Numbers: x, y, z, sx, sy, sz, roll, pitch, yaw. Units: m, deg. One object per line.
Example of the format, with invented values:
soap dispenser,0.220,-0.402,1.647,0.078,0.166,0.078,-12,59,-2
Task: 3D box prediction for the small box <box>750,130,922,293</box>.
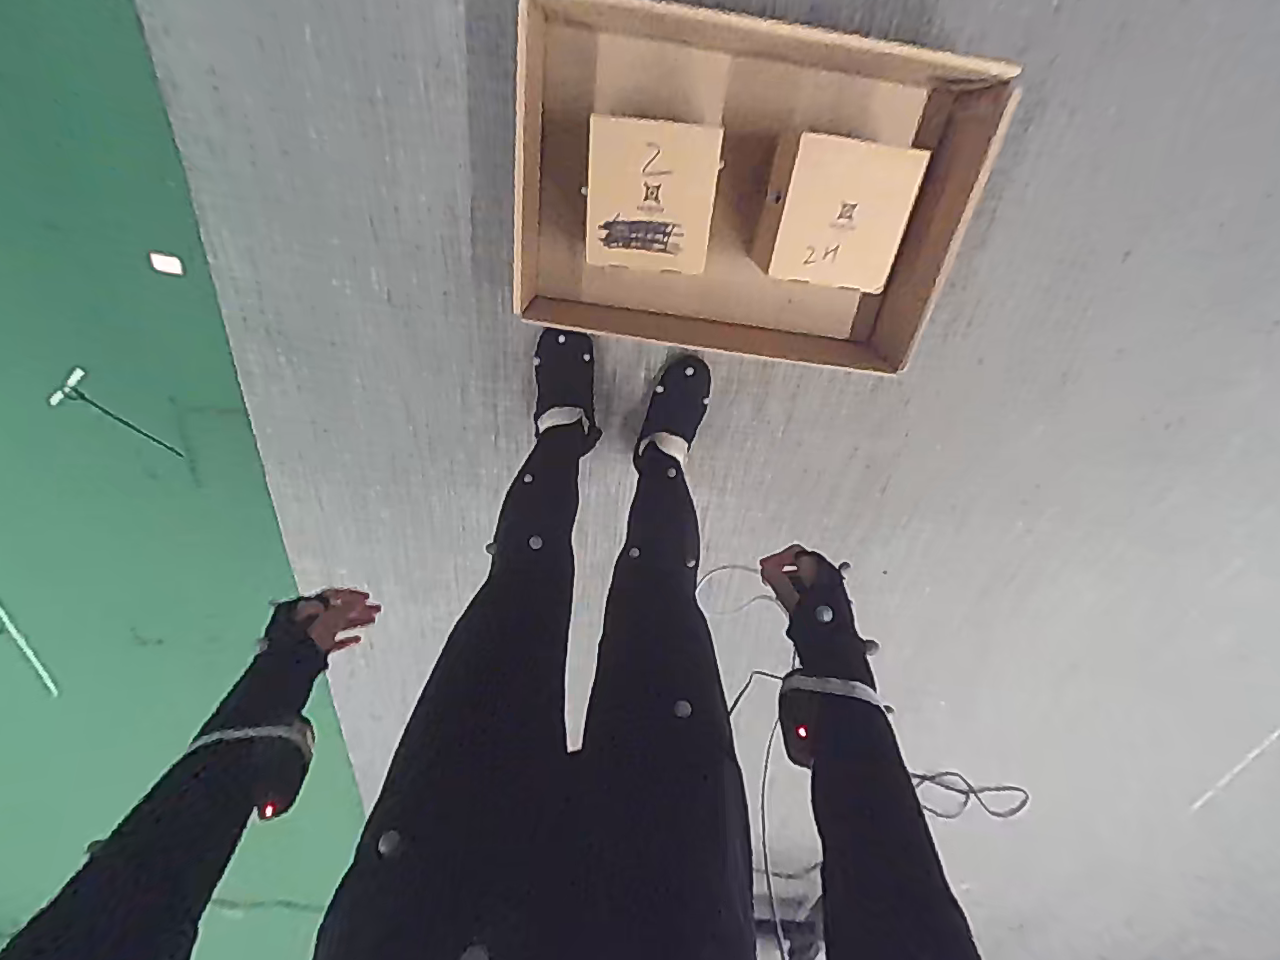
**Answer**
small box,0.265,-0.389,0.785,0.168,0.176,0.179,8,121,-2
